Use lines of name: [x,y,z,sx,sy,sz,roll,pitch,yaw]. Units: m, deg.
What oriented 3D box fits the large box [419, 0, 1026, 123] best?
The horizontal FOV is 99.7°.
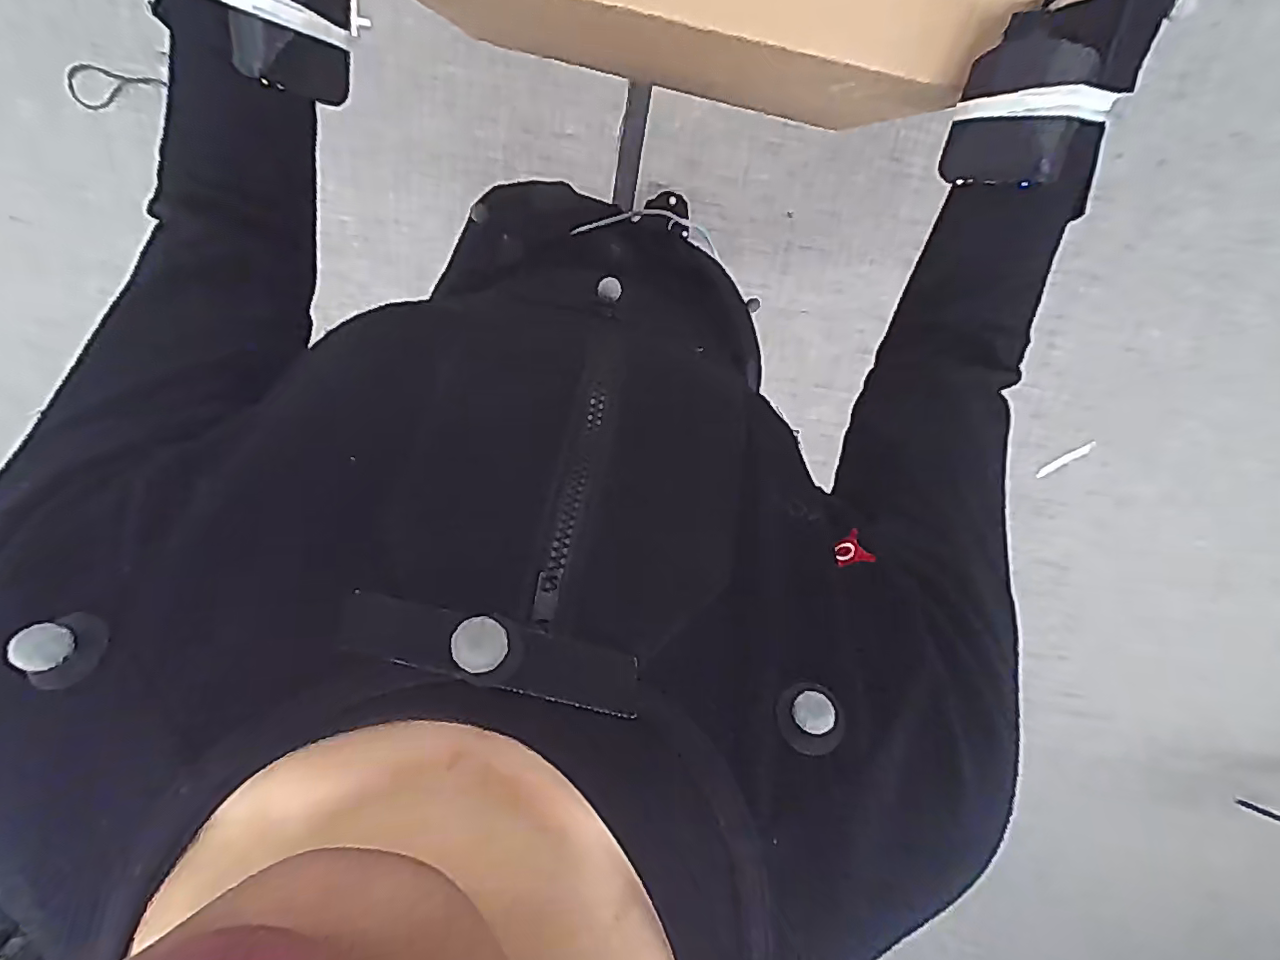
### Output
large box: [0.047,-0.473,0.370,0.408,0.320,0.320,10,121,-5]
